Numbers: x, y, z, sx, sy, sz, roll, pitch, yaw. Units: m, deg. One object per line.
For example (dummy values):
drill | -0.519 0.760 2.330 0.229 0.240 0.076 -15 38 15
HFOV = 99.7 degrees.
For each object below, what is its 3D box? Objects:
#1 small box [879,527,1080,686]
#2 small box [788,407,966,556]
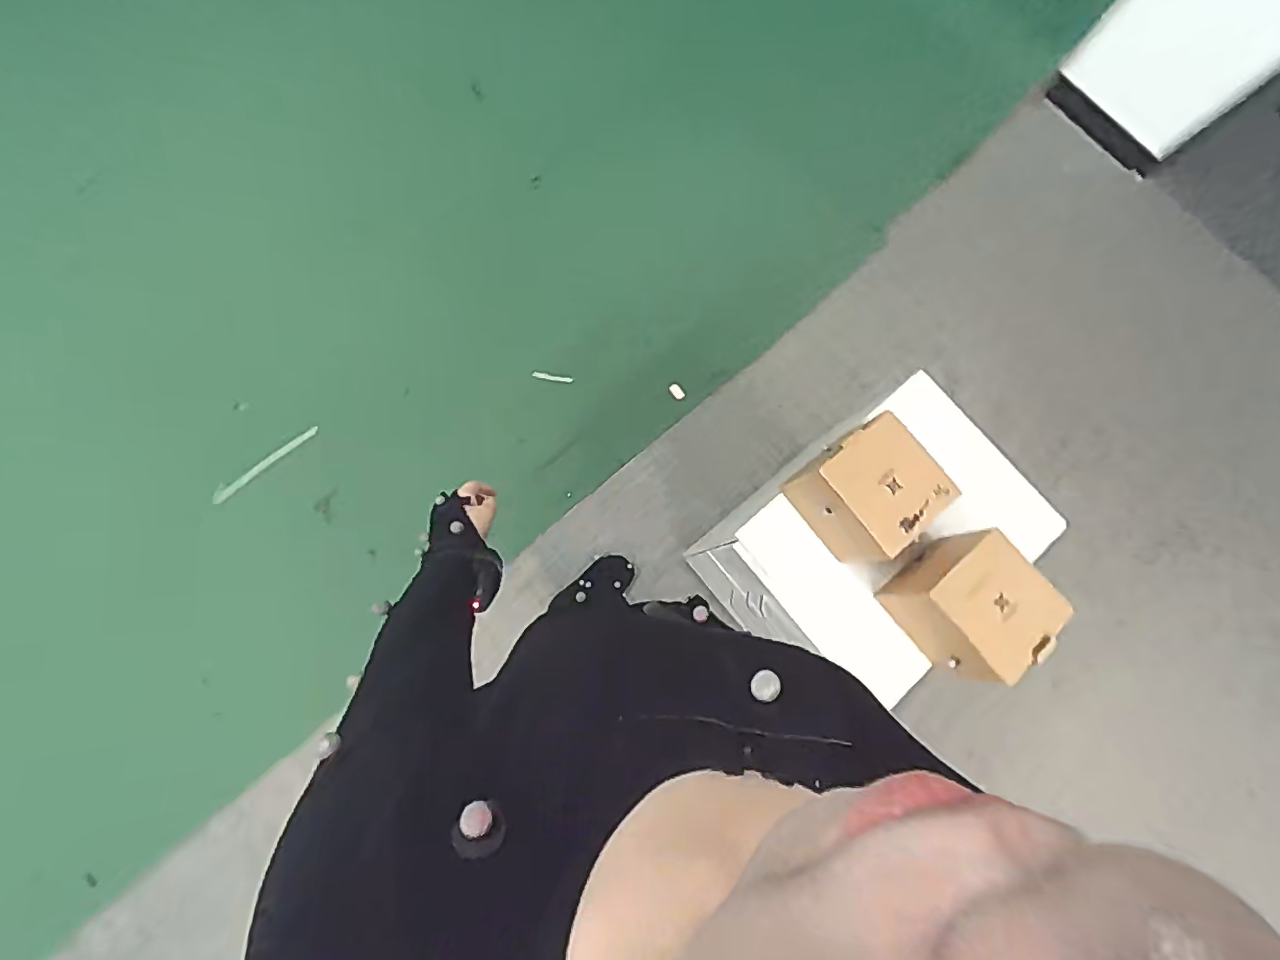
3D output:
small box | 0.537 0.200 0.880 0.168 0.176 0.179 -37 82 -12
small box | 0.378 0.014 0.900 0.168 0.176 0.179 -37 85 -10
